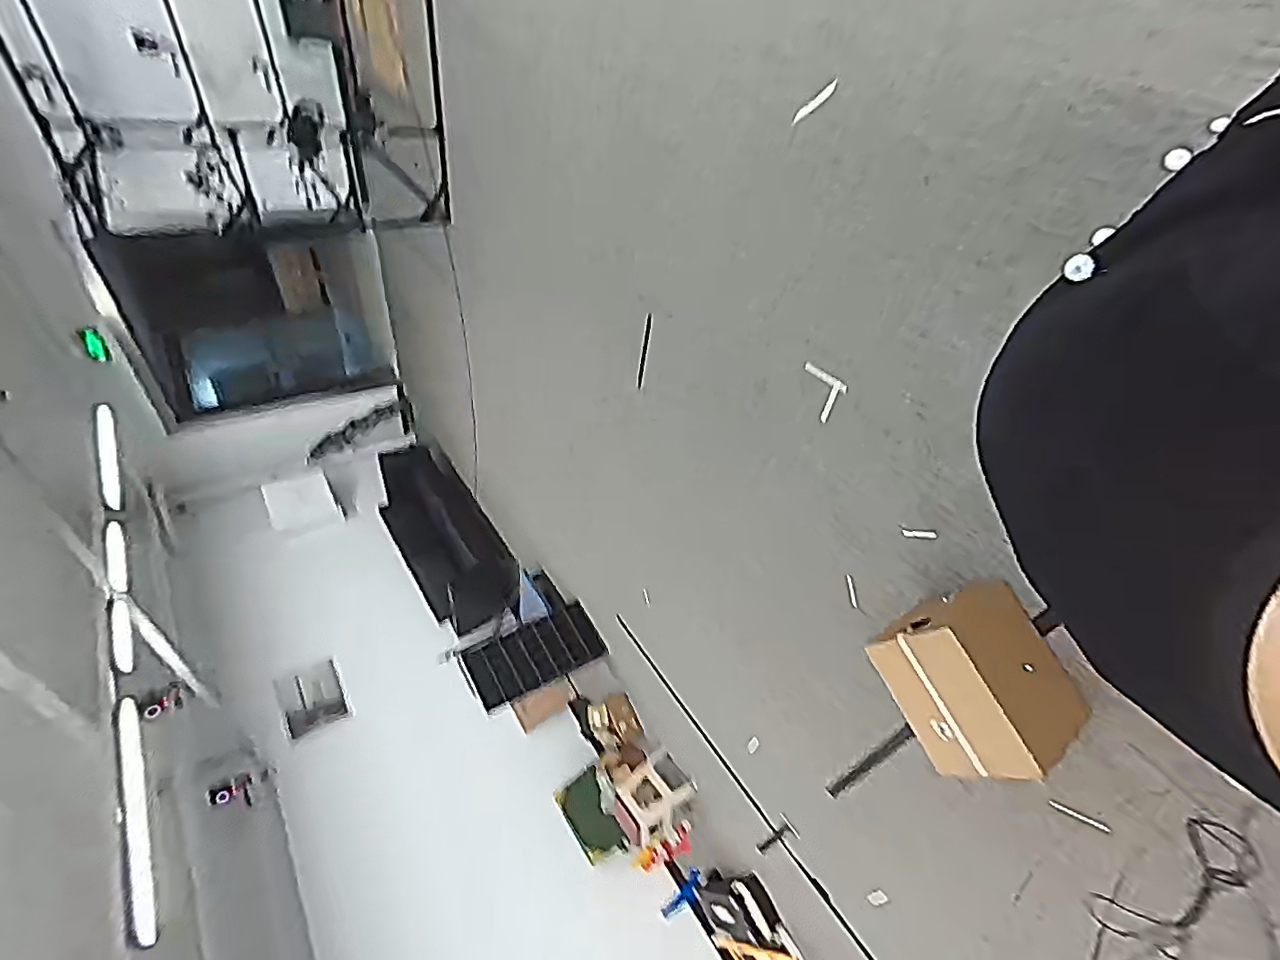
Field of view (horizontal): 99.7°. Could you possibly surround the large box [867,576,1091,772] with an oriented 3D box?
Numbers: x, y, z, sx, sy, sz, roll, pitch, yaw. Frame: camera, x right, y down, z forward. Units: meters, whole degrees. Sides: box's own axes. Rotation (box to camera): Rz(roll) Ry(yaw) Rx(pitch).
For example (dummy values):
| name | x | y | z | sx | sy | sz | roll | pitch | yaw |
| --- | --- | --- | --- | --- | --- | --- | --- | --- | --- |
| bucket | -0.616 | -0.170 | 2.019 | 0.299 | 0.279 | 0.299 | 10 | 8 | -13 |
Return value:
| name | x | y | z | sx | sy | sz | roll | pitch | yaw |
| --- | --- | --- | --- | --- | --- | --- | --- | --- | --- |
| large box | 0.948 | 0.544 | 1.536 | 0.408 | 0.320 | 0.320 | 61 | 149 | 12 |
